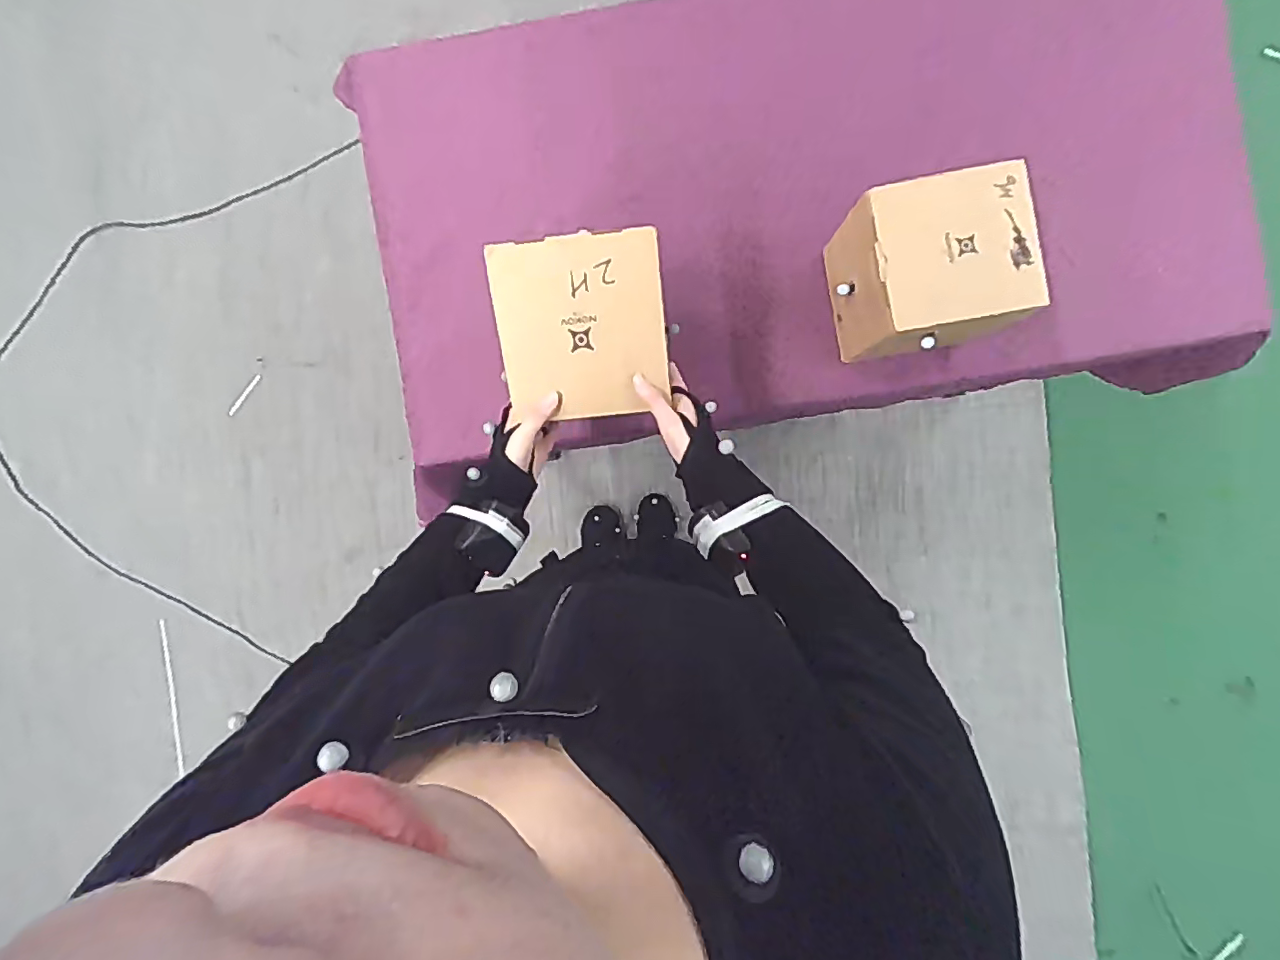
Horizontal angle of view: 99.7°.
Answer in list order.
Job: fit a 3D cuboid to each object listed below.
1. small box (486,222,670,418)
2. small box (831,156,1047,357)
[{"bbox_3d":[-0.053,-0.177,0.601,0.168,0.176,0.179,-4,109,4],"label":"small box"},{"bbox_3d":[0.351,-0.261,0.674,0.179,0.176,0.168,-9,91,3],"label":"small box"}]
